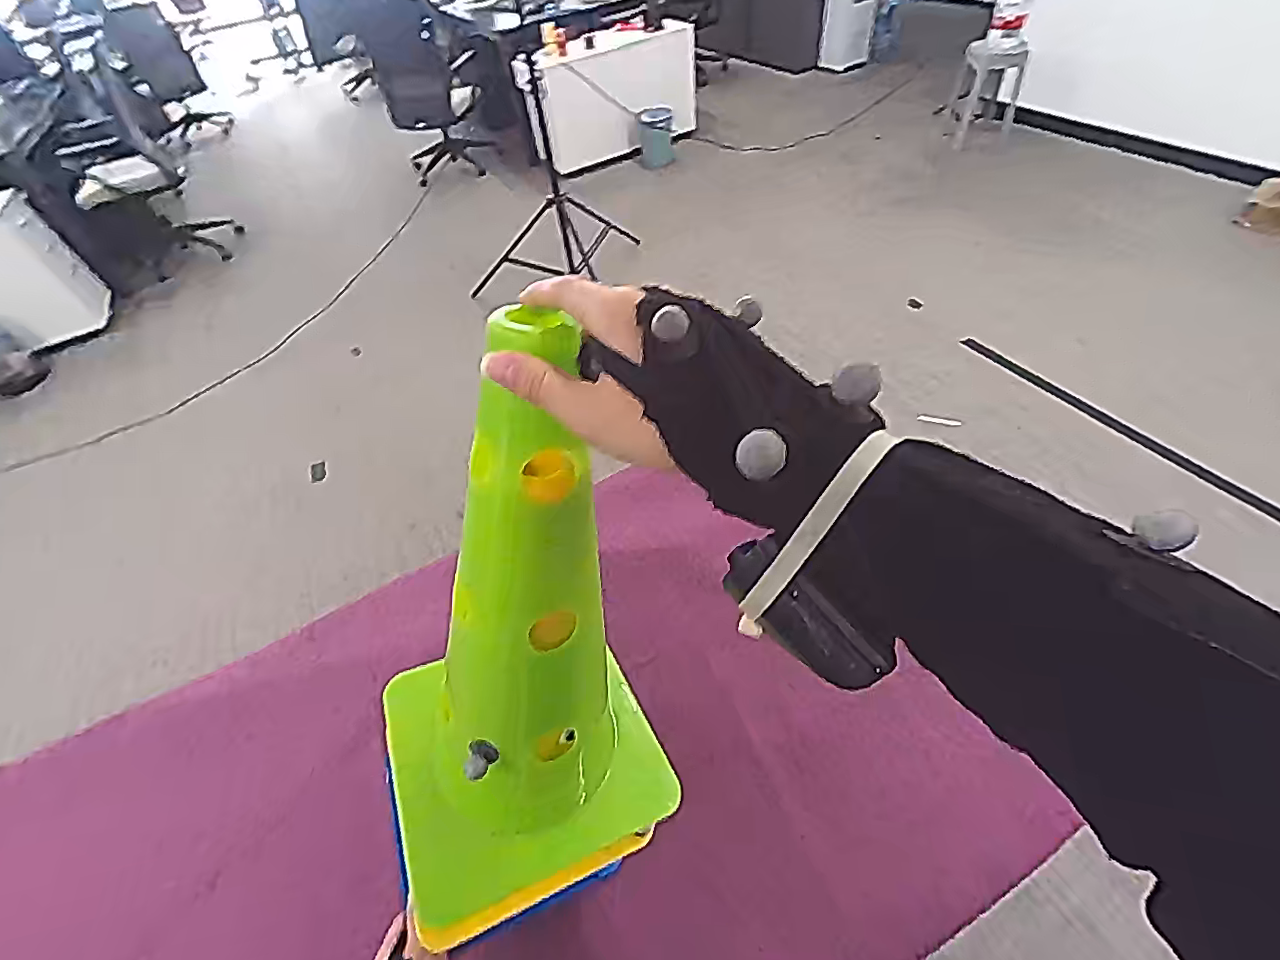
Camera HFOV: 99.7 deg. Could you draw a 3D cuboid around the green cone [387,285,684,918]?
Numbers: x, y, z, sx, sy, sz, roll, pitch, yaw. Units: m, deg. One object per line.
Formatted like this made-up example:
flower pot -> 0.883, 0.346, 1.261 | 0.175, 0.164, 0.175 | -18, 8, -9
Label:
green cone -> -0.067, 0.064, 0.342 | 0.200, 0.368, 0.202 | -12, 40, -27
